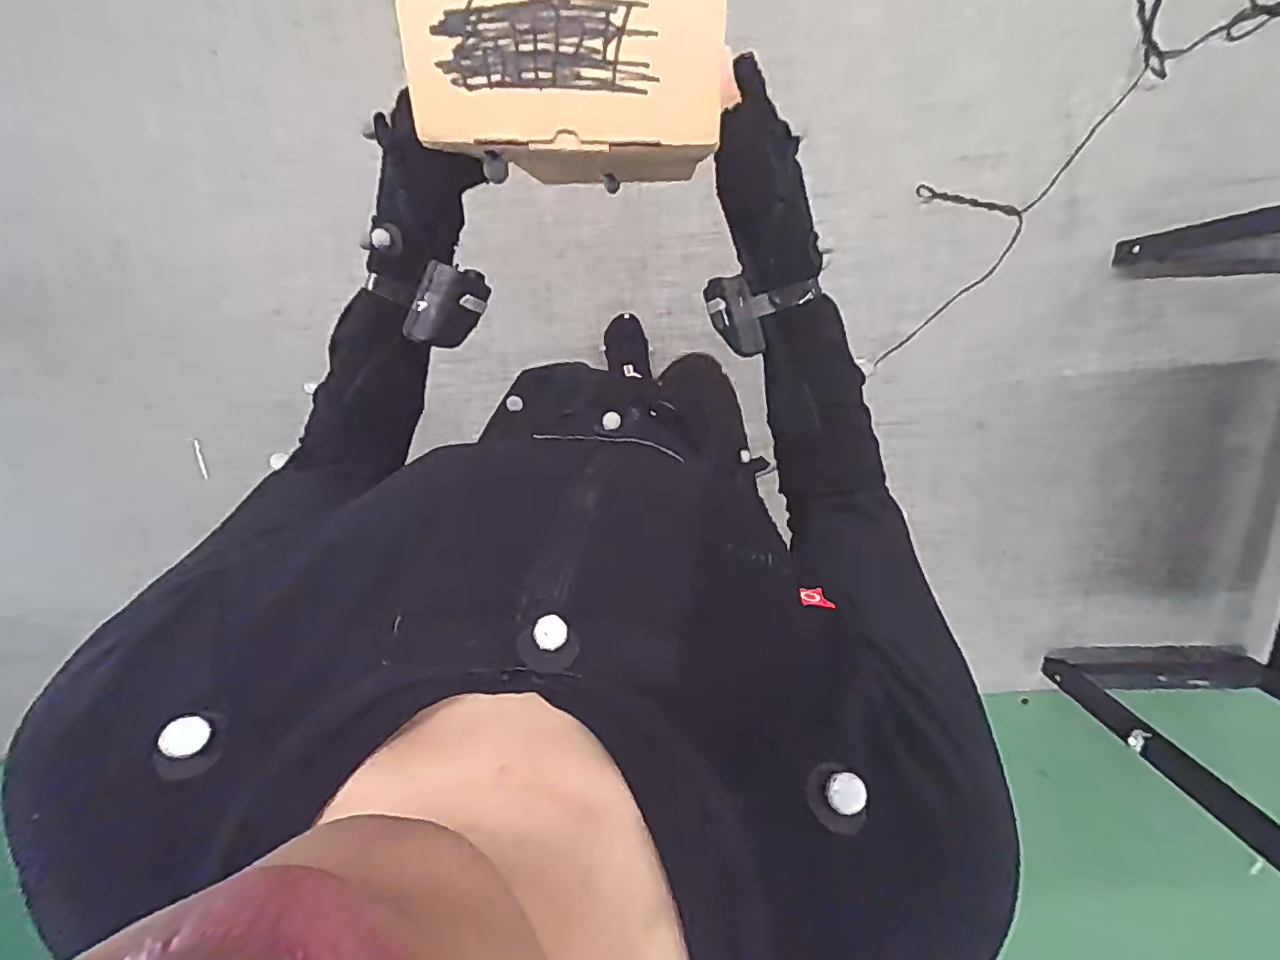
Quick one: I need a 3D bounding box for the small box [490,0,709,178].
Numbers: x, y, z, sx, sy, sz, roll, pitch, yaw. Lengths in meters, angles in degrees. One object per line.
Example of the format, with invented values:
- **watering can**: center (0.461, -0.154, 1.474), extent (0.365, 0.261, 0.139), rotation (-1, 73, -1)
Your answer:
- **small box**: center (-0.029, -0.380, 0.479), extent (0.168, 0.176, 0.179), rotation (0, 112, 2)
